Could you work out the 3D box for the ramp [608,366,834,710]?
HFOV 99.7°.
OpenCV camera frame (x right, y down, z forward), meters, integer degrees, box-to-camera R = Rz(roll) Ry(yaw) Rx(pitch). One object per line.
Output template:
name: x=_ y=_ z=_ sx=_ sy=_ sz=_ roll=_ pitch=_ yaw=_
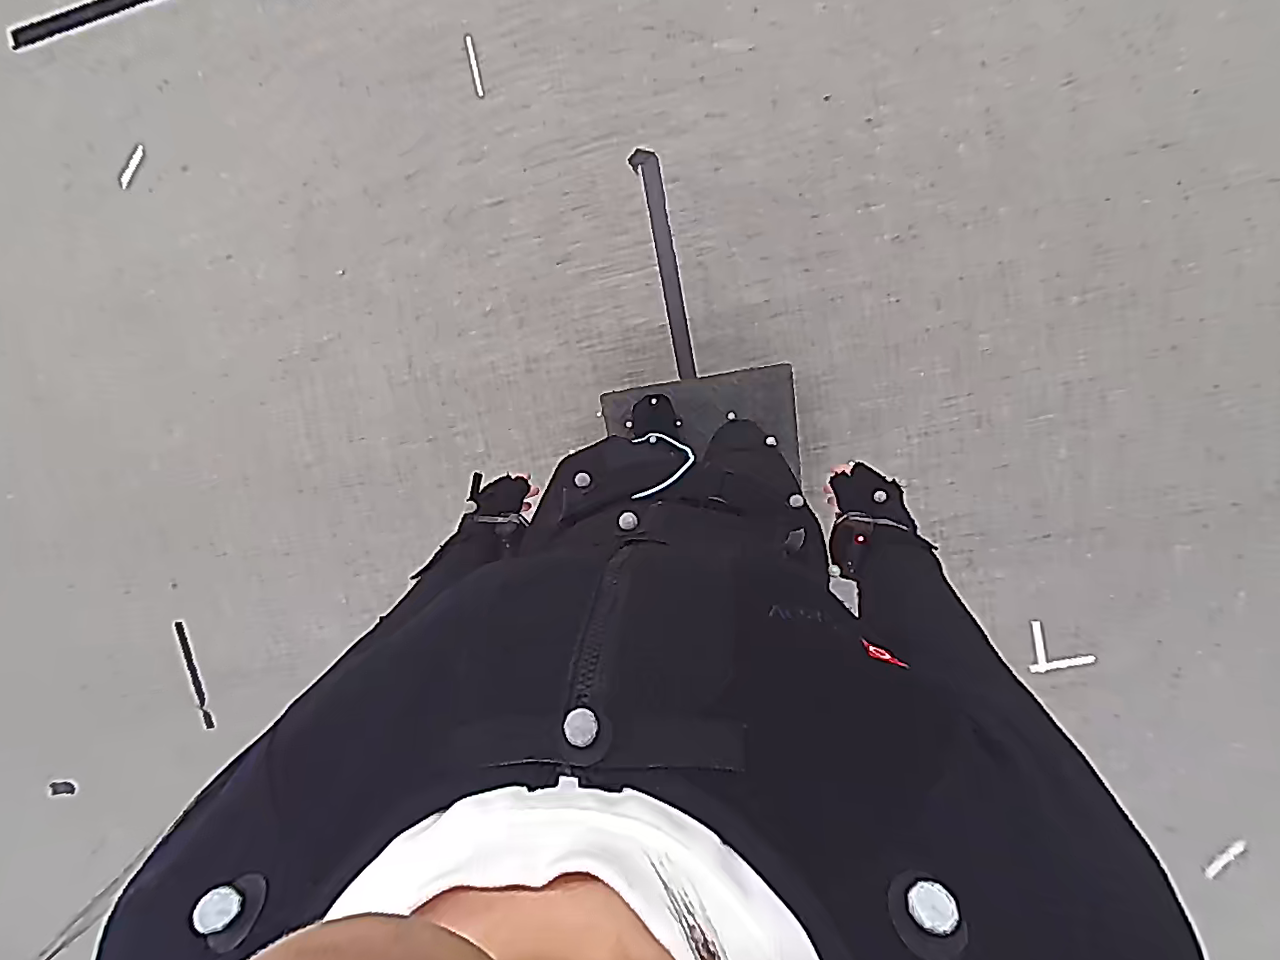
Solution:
ramp: x=0.253 y=0.216 z=1.521 sx=0.509 sy=0.206 sz=0.991 roll=-12 pitch=97 yaw=7
